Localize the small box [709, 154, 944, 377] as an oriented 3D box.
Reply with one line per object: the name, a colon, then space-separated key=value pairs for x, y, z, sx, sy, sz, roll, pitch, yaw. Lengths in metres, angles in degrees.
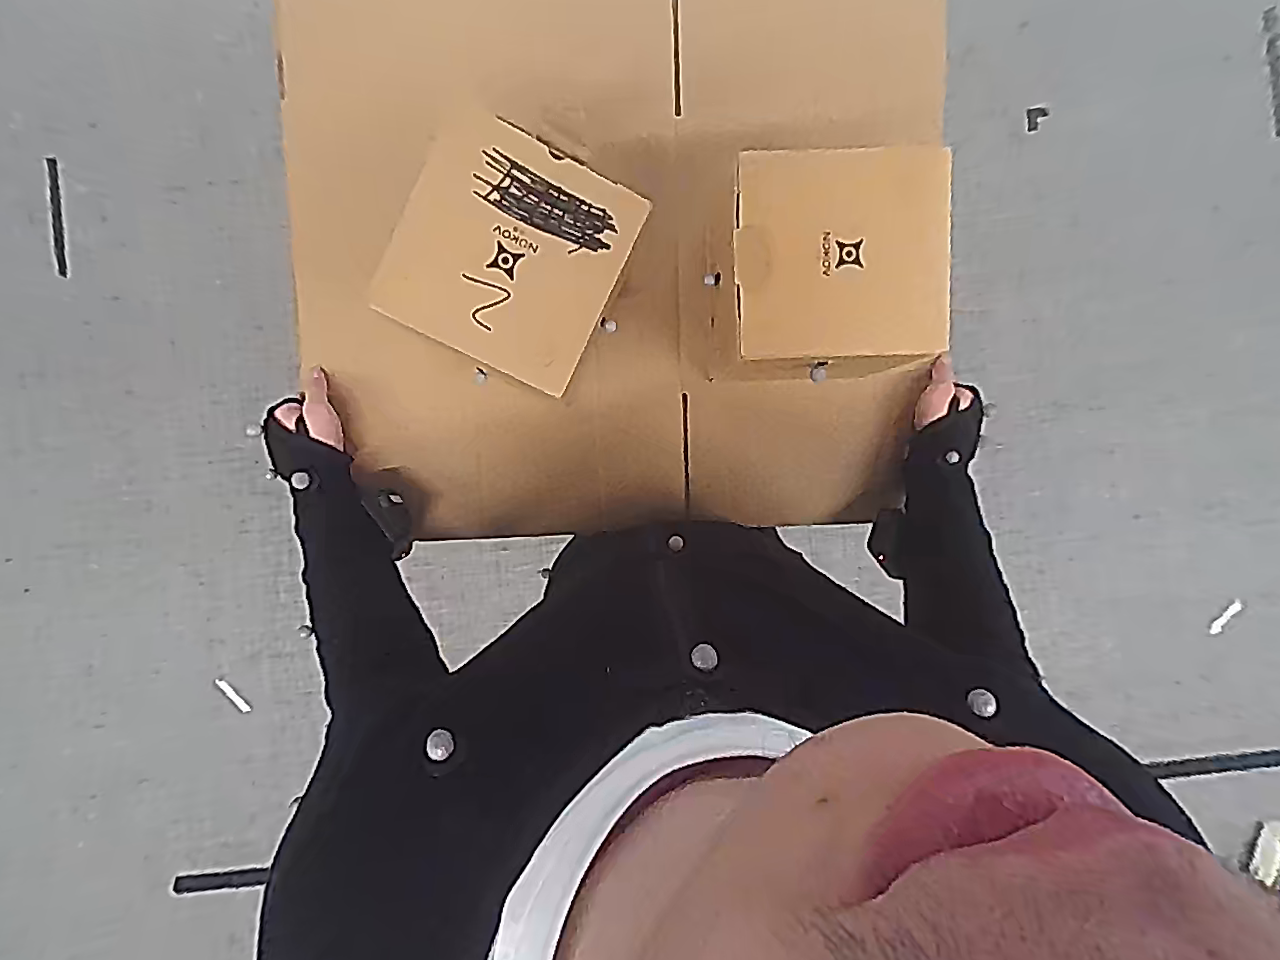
small box: x=0.167 y=-0.196 z=0.536 sx=0.179 sy=0.176 sz=0.168 roll=-2 pitch=94 yaw=0
